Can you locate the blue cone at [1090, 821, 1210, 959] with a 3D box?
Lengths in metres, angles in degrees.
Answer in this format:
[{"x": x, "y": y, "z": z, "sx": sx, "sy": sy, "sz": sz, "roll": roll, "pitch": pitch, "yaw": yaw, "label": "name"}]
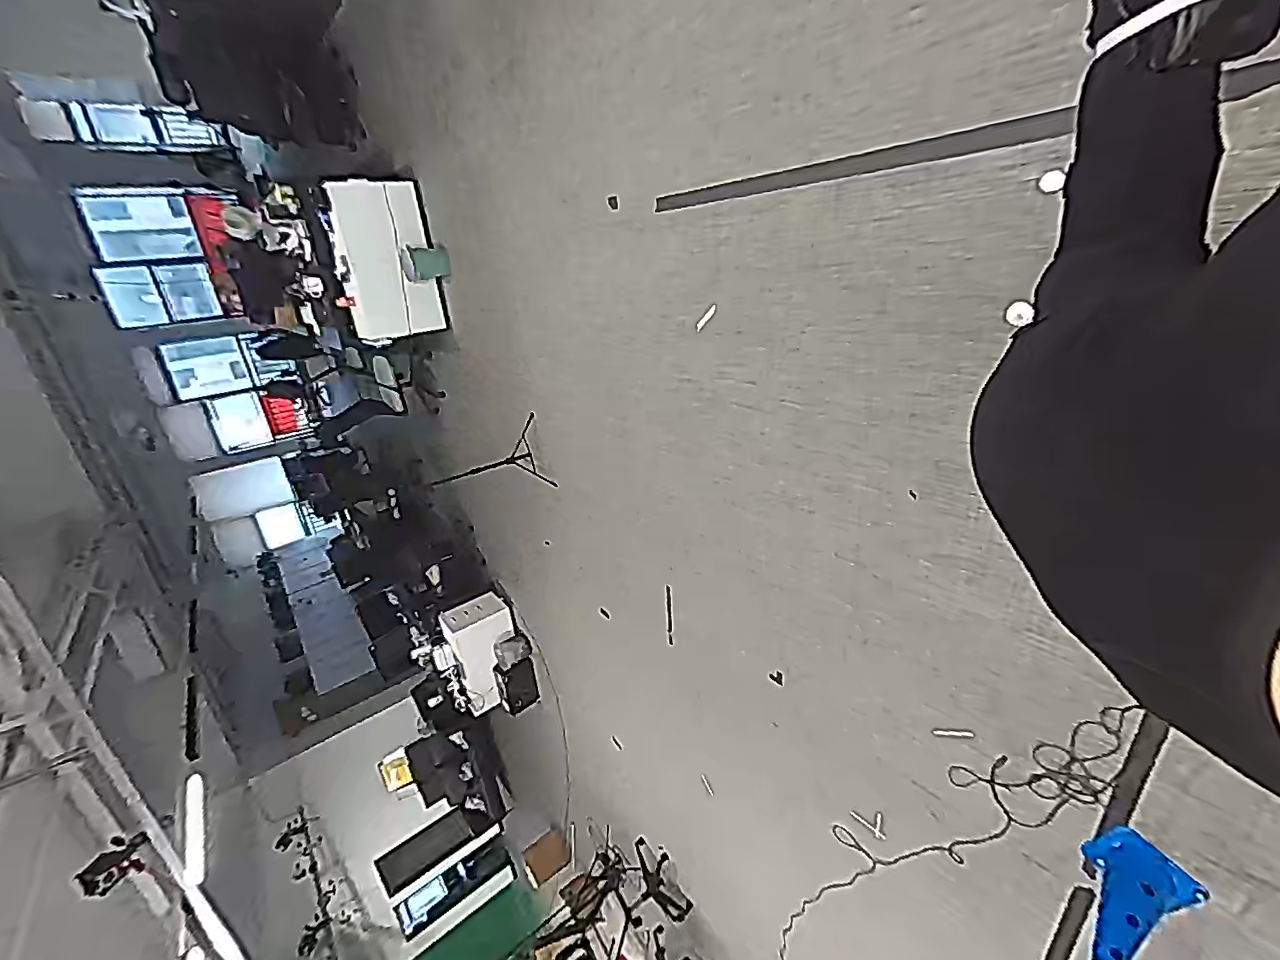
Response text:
[{"x": 1.220, "y": 1.071, "z": 1.351, "sx": 0.193, "sy": 0.380, "sz": 0.192, "roll": 43, "pitch": 139, "yaw": 33, "label": "blue cone"}]
